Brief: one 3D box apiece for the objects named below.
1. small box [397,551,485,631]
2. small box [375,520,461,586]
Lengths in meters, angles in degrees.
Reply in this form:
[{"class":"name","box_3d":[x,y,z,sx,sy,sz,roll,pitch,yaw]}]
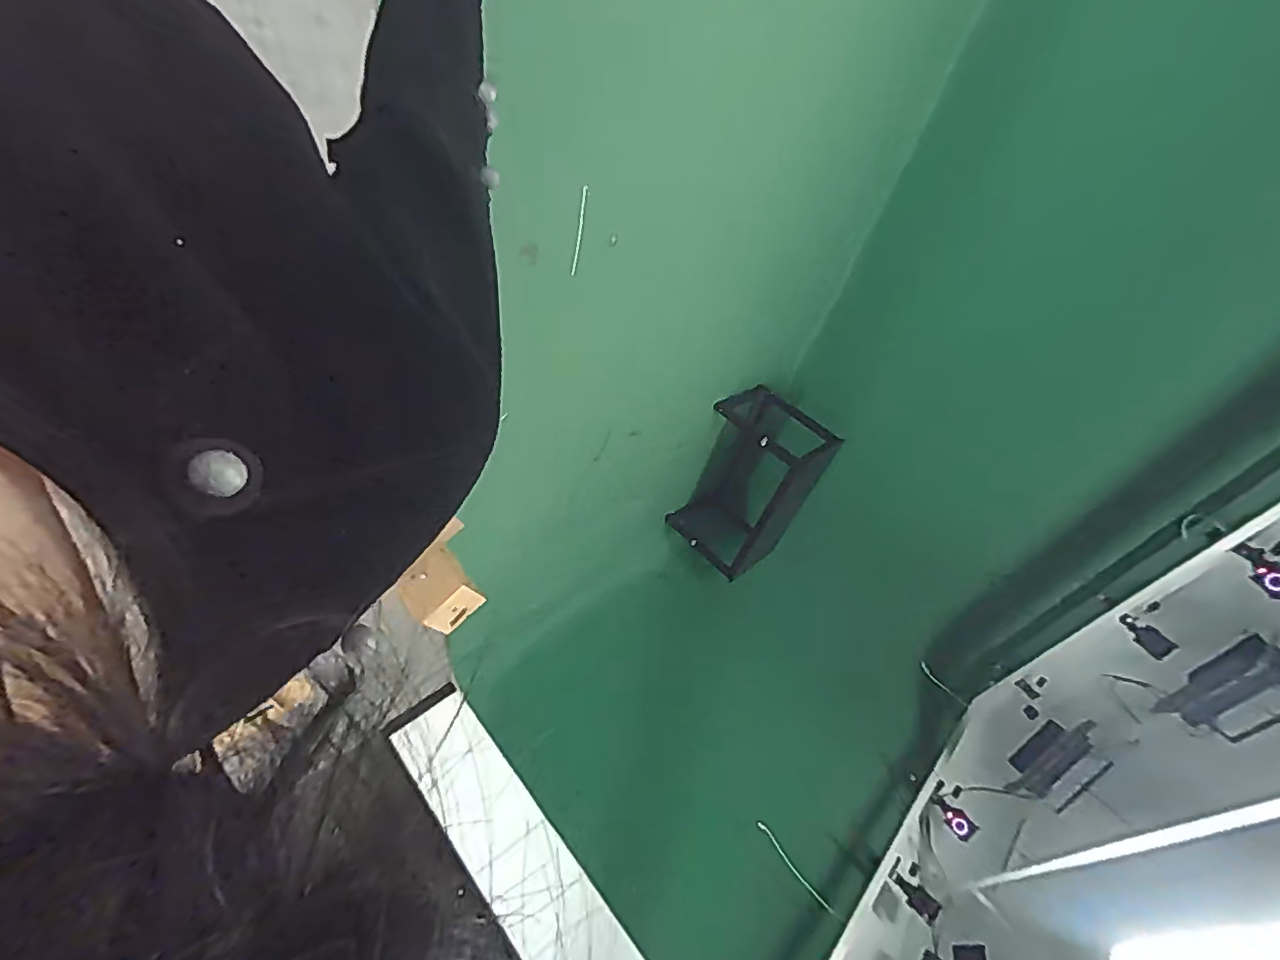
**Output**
[{"class":"small box","box_3d":[-0.638,0.354,1.741,0.168,0.176,0.179,-43,154,-12]},{"class":"small box","box_3d":[-0.747,0.259,1.821,0.168,0.176,0.179,-45,155,-7]}]
